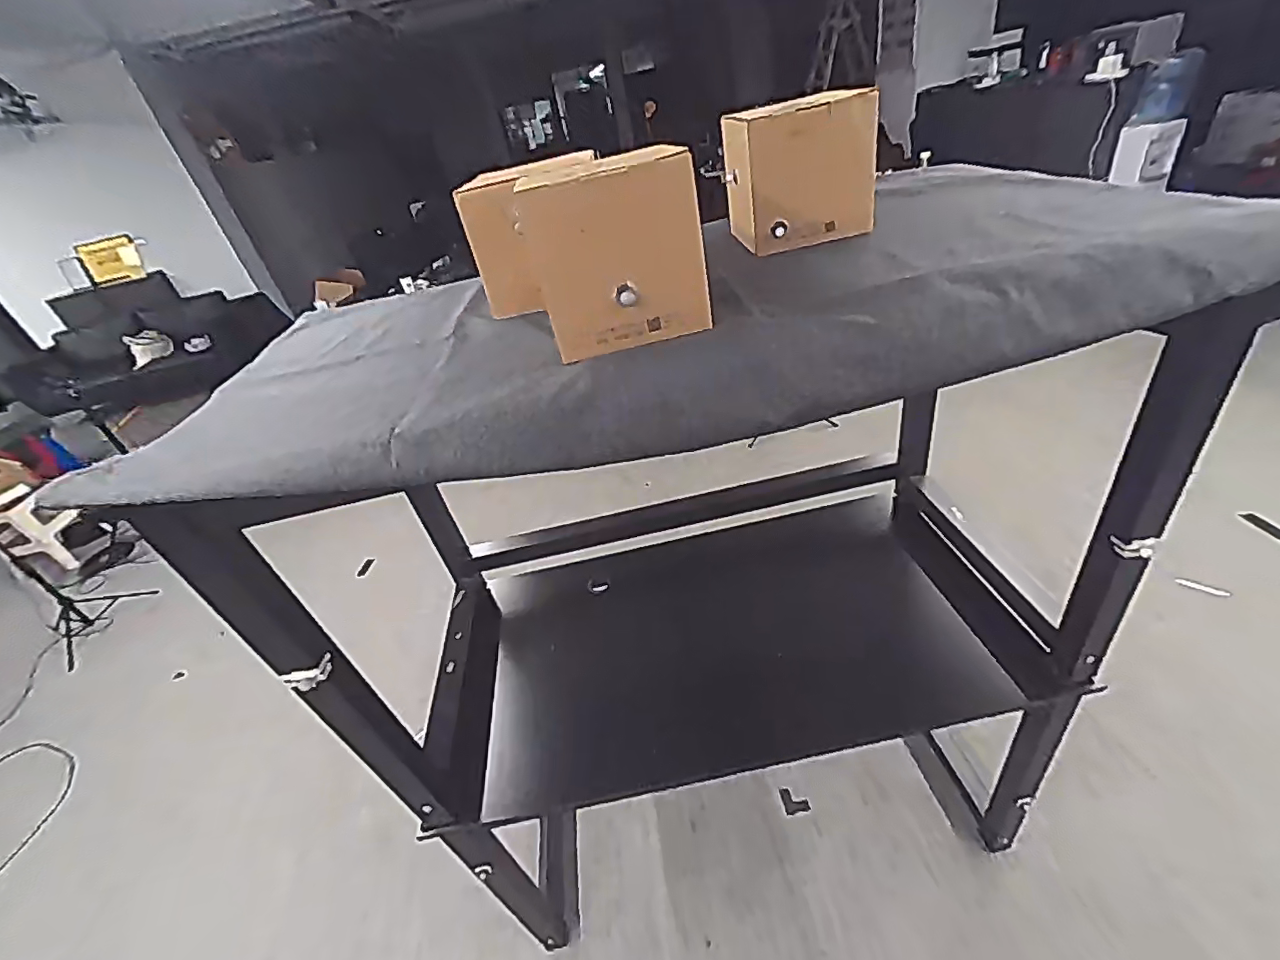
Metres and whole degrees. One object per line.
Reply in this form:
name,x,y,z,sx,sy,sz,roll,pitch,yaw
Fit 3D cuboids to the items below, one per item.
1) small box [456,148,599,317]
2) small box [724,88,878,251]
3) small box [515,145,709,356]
small box,-0.130,-0.351,0.769,0.179,0.176,0.168,-10,35,5
small box,0.225,-0.442,0.778,0.168,0.176,0.179,-11,35,3
small box,-0.028,-0.254,0.596,0.168,0.176,0.179,-13,34,0
